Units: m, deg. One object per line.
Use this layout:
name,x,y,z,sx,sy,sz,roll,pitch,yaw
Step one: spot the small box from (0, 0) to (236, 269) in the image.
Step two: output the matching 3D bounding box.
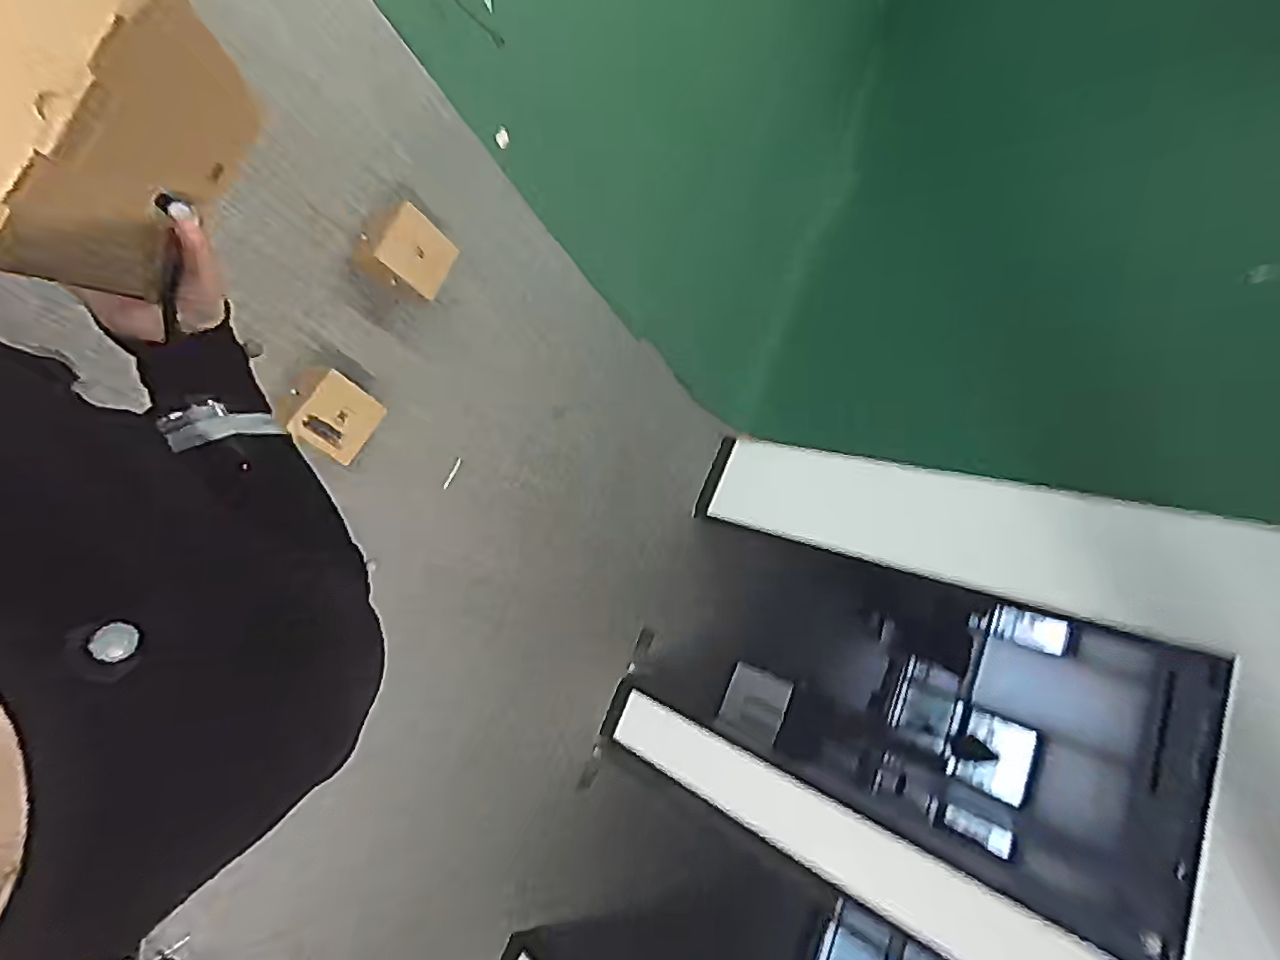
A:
small box,-0.366,-0.233,0.281,0.179,0.176,0.168,29,92,-23

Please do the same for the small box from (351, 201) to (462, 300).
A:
small box,-0.610,-0.587,1.407,0.179,0.176,0.168,39,72,-50
